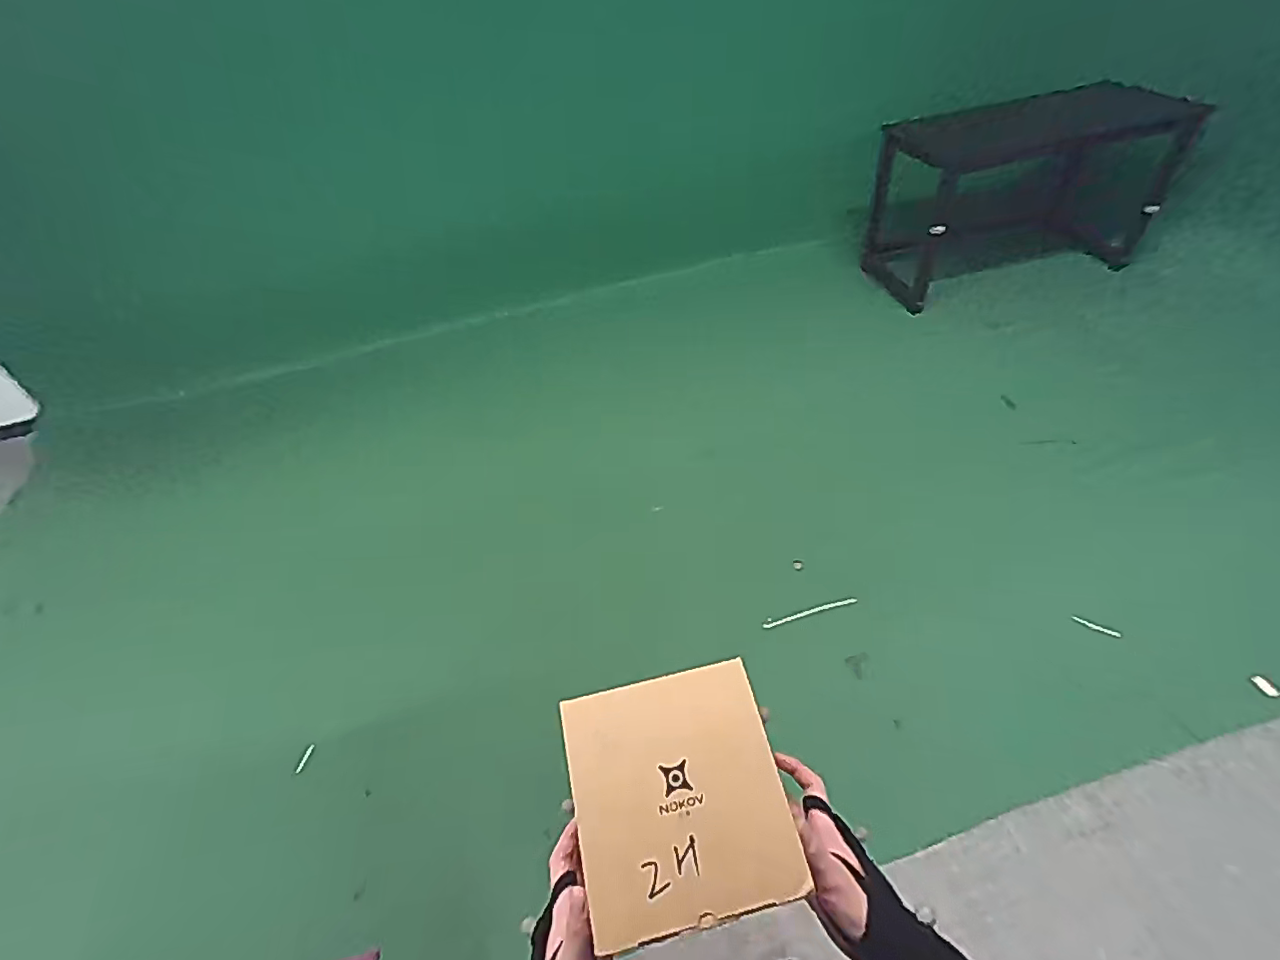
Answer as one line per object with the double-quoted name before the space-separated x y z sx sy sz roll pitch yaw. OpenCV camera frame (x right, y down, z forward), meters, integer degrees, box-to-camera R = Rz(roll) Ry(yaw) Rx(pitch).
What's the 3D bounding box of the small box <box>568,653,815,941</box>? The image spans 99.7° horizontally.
"small box" 0.035 0.282 0.498 0.168 0.176 0.179 -12 59 -4
